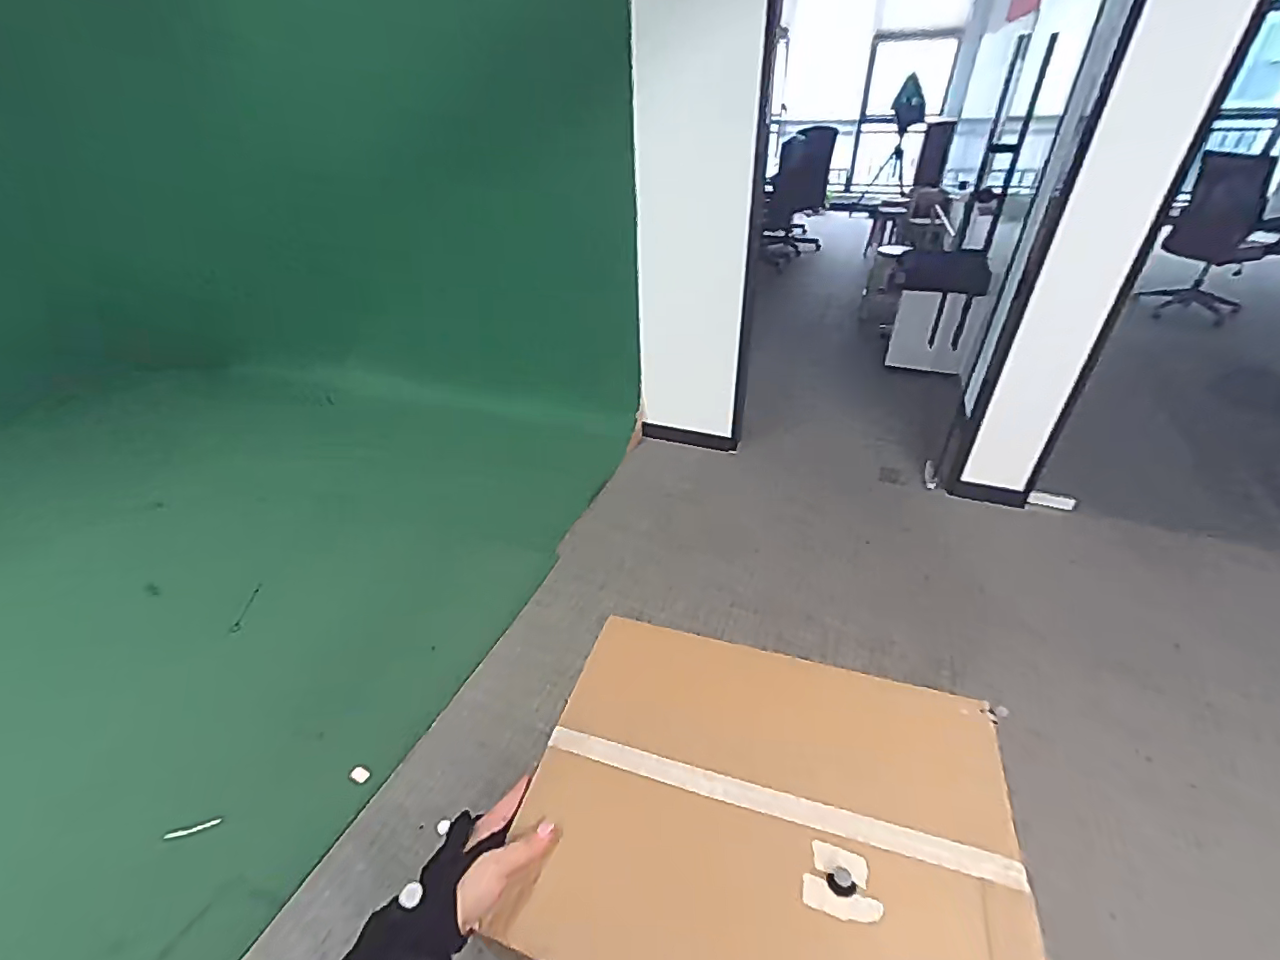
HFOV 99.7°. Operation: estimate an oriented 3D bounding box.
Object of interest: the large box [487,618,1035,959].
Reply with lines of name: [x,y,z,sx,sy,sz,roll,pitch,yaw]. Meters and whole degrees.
large box: [0.115,0.399,0.569,0.408,0.320,0.320,9,39,15]
